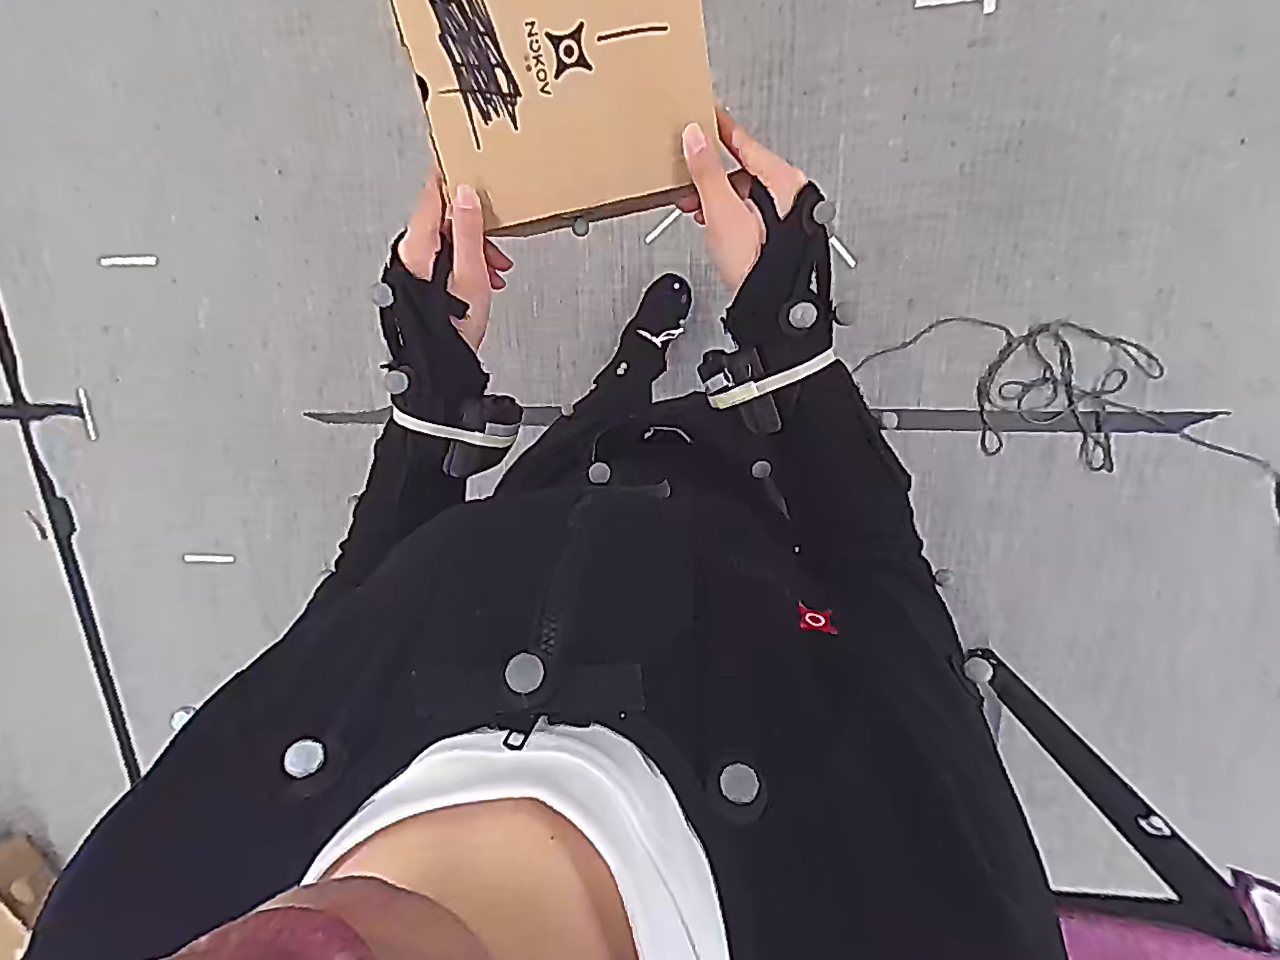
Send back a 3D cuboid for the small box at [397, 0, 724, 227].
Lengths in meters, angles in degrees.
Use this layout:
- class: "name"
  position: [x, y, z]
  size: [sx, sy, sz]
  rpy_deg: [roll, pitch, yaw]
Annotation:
- class: "small box"
  position: [-0.042, -0.283, 0.382]
  size: [0.179, 0.176, 0.168]
  rpy_deg: [-9, 113, 6]
